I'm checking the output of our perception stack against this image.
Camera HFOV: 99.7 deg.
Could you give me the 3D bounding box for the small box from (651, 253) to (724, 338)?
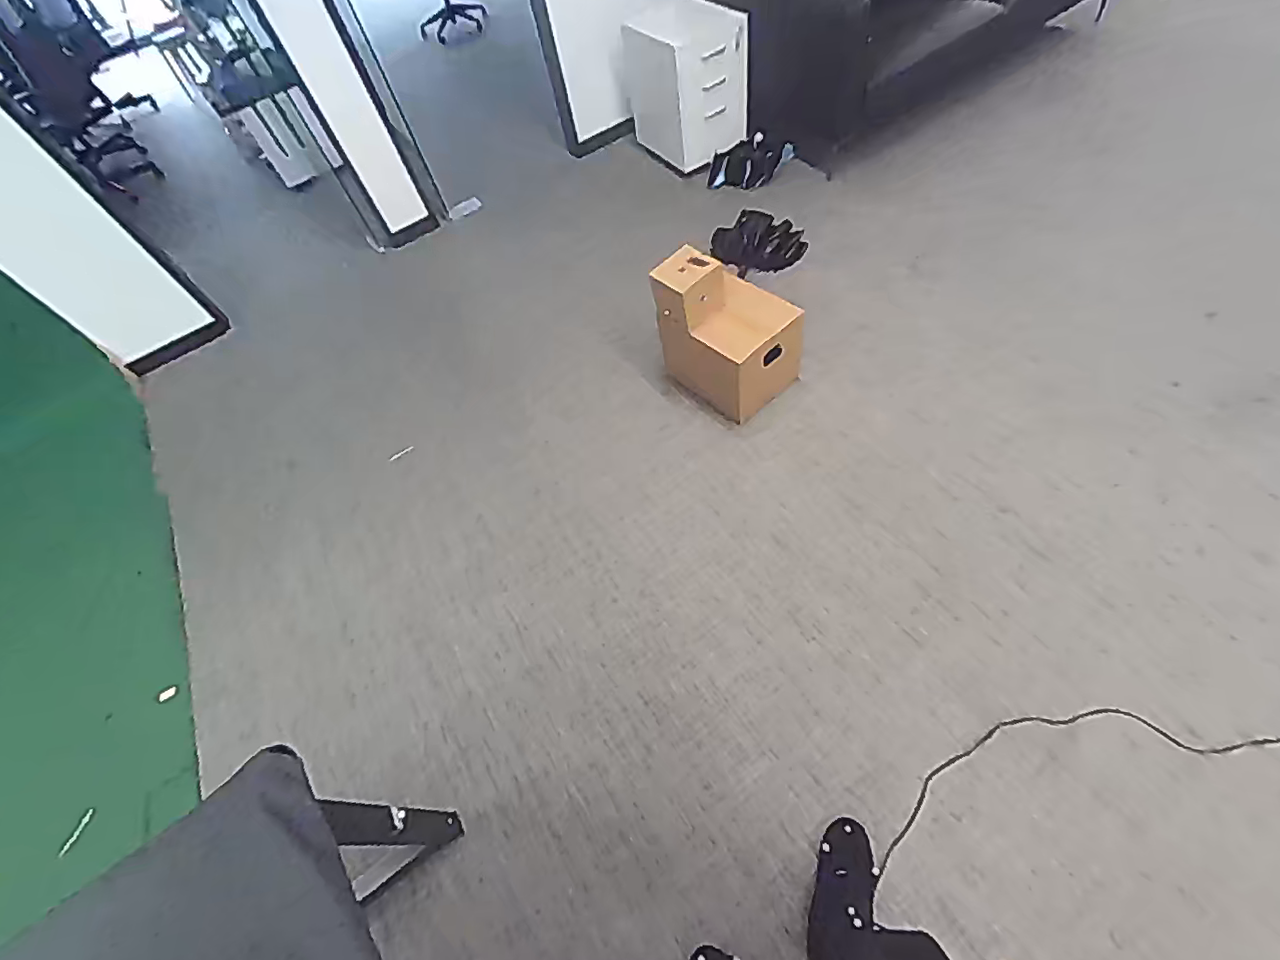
[{"bbox_3d":[0.164,-0.610,1.794,0.179,0.176,0.168,-41,58,-11],"label":"small box"}]
